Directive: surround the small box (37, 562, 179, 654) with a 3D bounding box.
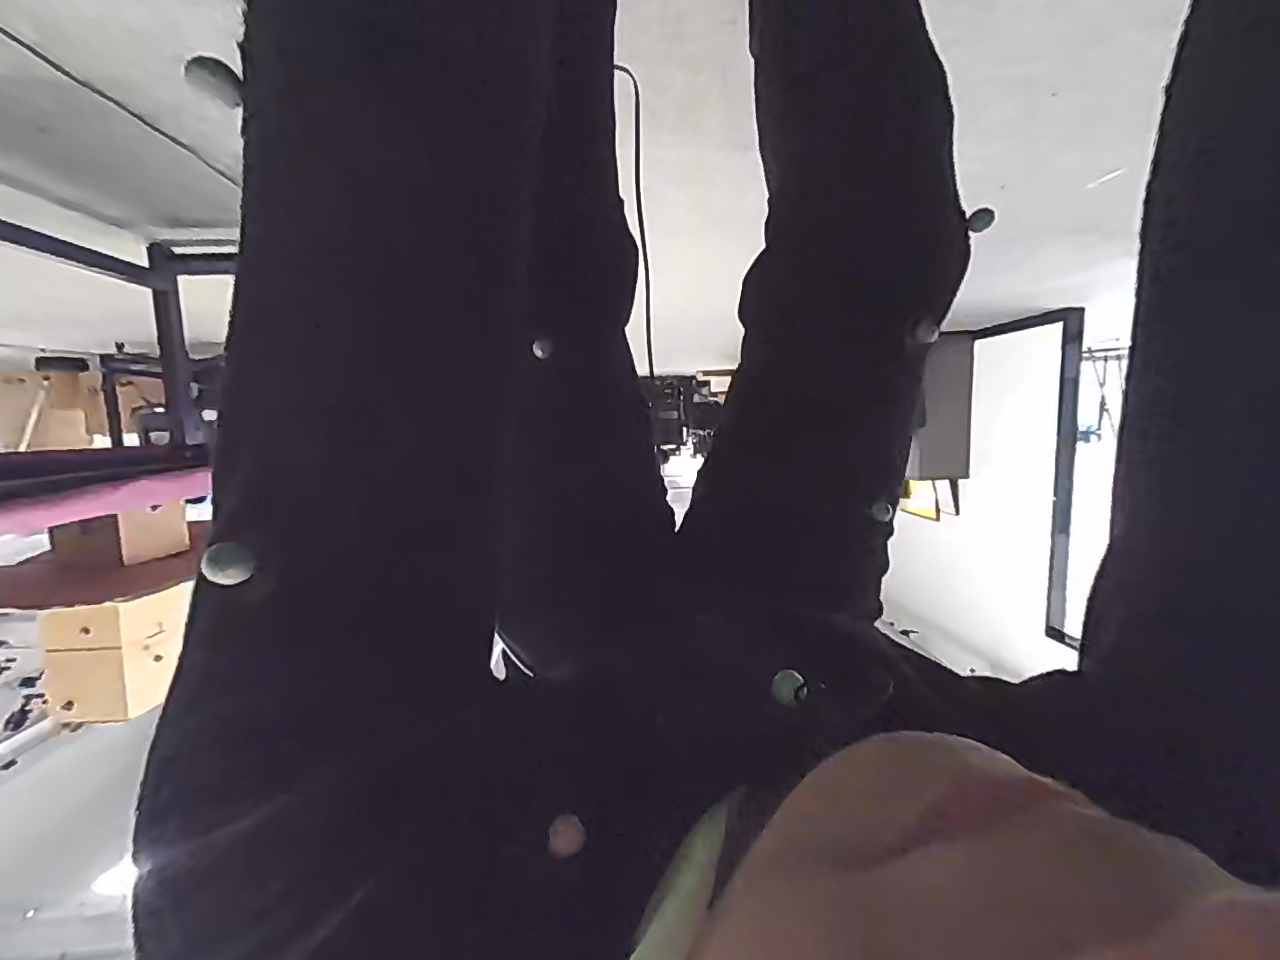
[{"bbox_3d":[-1.227,0.287,1.251,0.179,0.176,0.168,-1,-177,-1],"label":"small box"}]

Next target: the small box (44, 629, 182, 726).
[{"bbox_3d":[-1.225,0.451,1.263,0.179,0.176,0.168,-2,-176,-1],"label":"small box"}]
